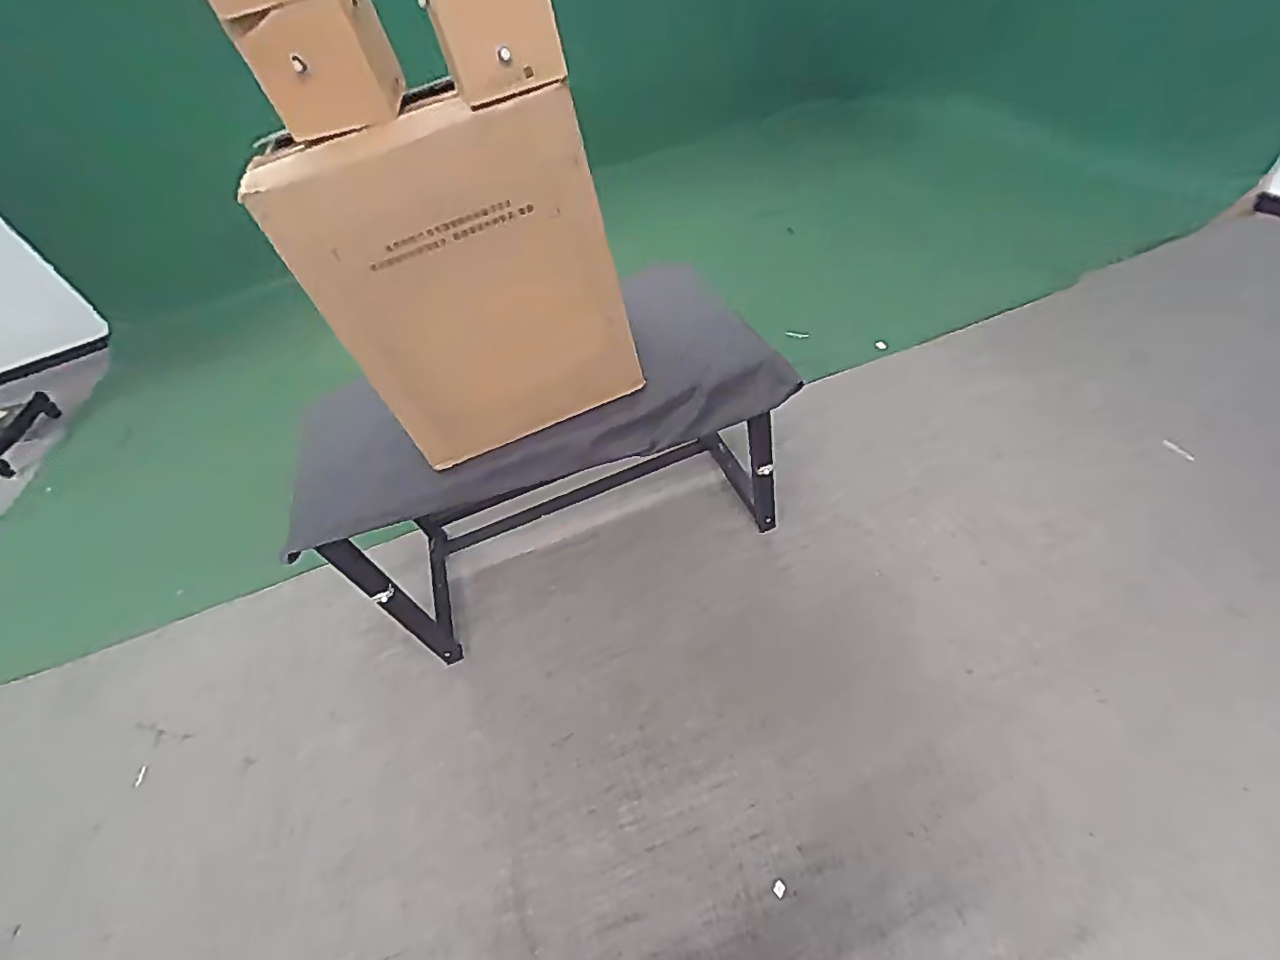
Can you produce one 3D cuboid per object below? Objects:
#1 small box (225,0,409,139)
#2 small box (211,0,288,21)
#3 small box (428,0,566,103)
[{"bbox_3d":[-0.509,-0.689,0.879,0.179,0.176,0.168,-12,56,4],"label":"small box"},{"bbox_3d":[-0.551,-0.775,0.747,0.179,0.176,0.168,-26,56,-8],"label":"small box"},{"bbox_3d":[-0.232,-0.718,0.846,0.168,0.176,0.179,-23,48,-6],"label":"small box"}]
